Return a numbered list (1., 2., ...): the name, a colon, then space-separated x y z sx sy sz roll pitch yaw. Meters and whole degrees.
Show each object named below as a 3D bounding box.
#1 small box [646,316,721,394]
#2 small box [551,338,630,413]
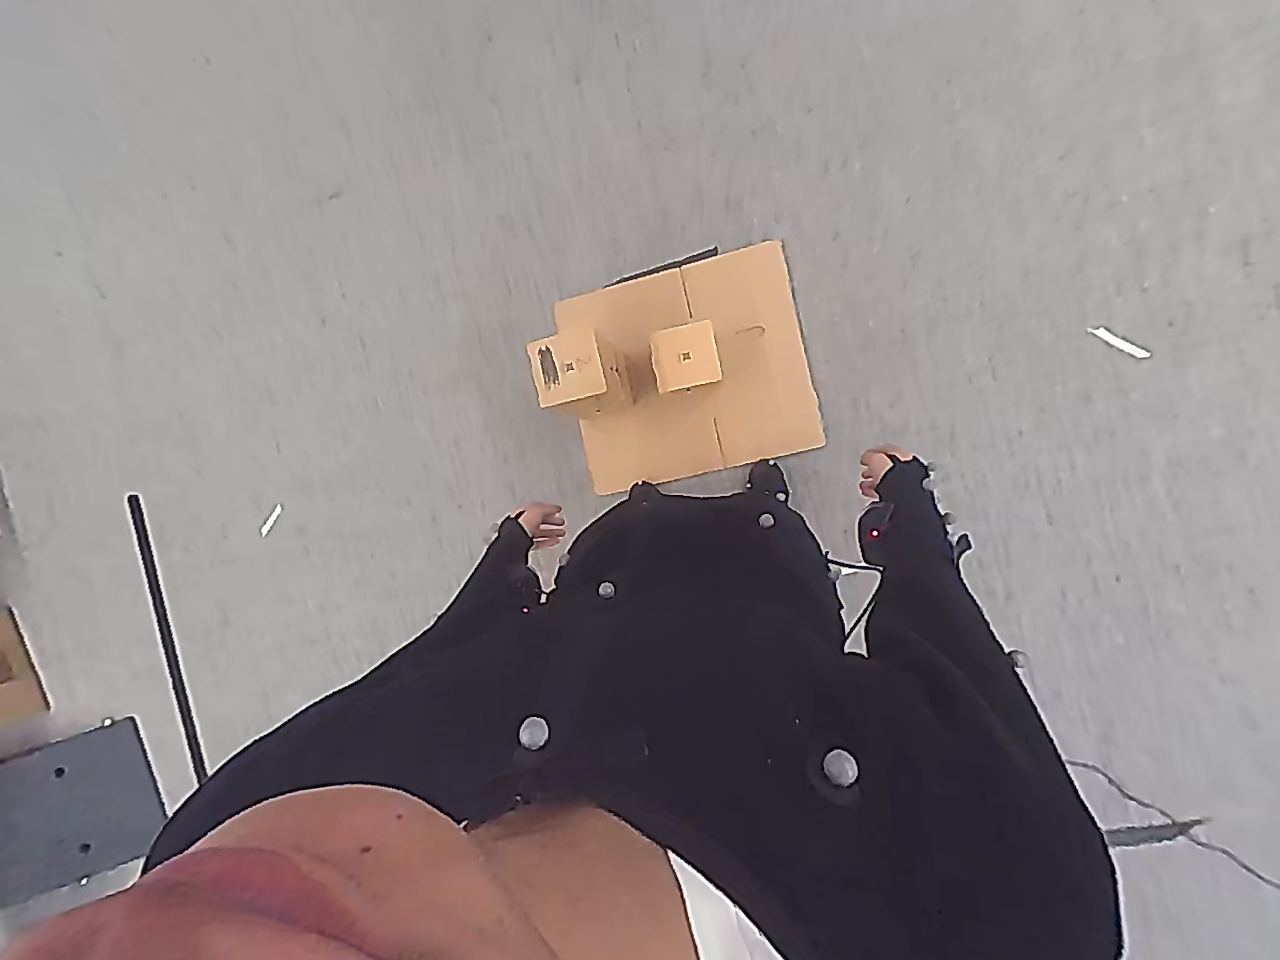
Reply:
1. small box: 0.125 -0.343 1.516 0.179 0.176 0.168 -11 91 9
2. small box: -0.133 -0.295 1.555 0.179 0.176 0.168 -13 90 10
